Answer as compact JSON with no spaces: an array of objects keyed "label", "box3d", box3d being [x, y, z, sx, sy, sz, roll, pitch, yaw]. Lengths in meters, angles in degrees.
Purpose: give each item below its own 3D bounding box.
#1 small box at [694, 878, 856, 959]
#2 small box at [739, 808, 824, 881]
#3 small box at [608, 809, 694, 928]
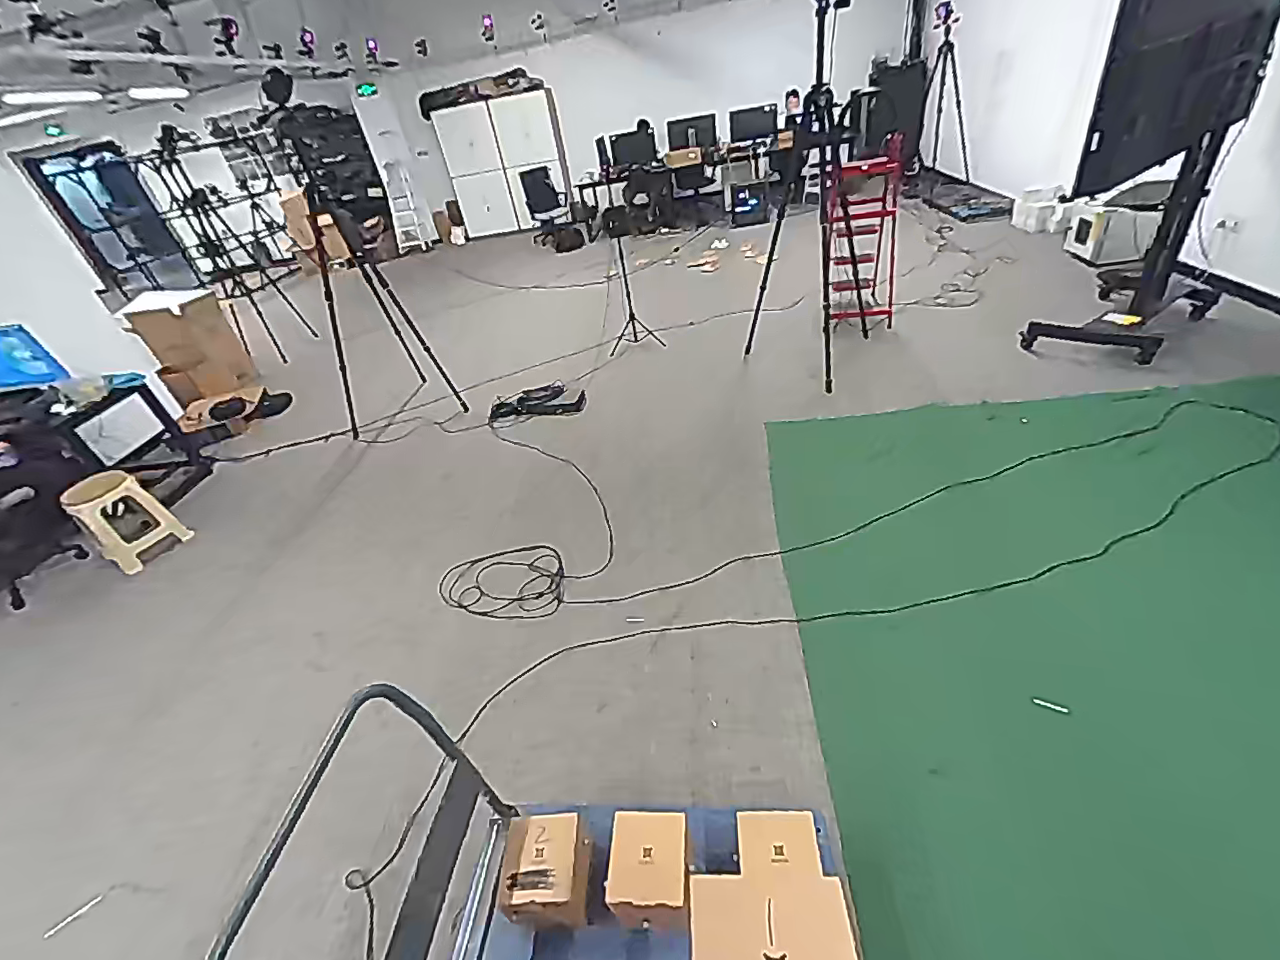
[{"label":"small box","box3d":[0.146,0.568,0.590,0.168,0.176,0.179,-2,36,5]},{"label":"small box","box3d":[0.307,0.848,1.181,0.168,0.176,0.179,-6,36,10]},{"label":"small box","box3d":[0.032,0.878,1.225,0.168,0.176,0.179,-5,38,10]}]
